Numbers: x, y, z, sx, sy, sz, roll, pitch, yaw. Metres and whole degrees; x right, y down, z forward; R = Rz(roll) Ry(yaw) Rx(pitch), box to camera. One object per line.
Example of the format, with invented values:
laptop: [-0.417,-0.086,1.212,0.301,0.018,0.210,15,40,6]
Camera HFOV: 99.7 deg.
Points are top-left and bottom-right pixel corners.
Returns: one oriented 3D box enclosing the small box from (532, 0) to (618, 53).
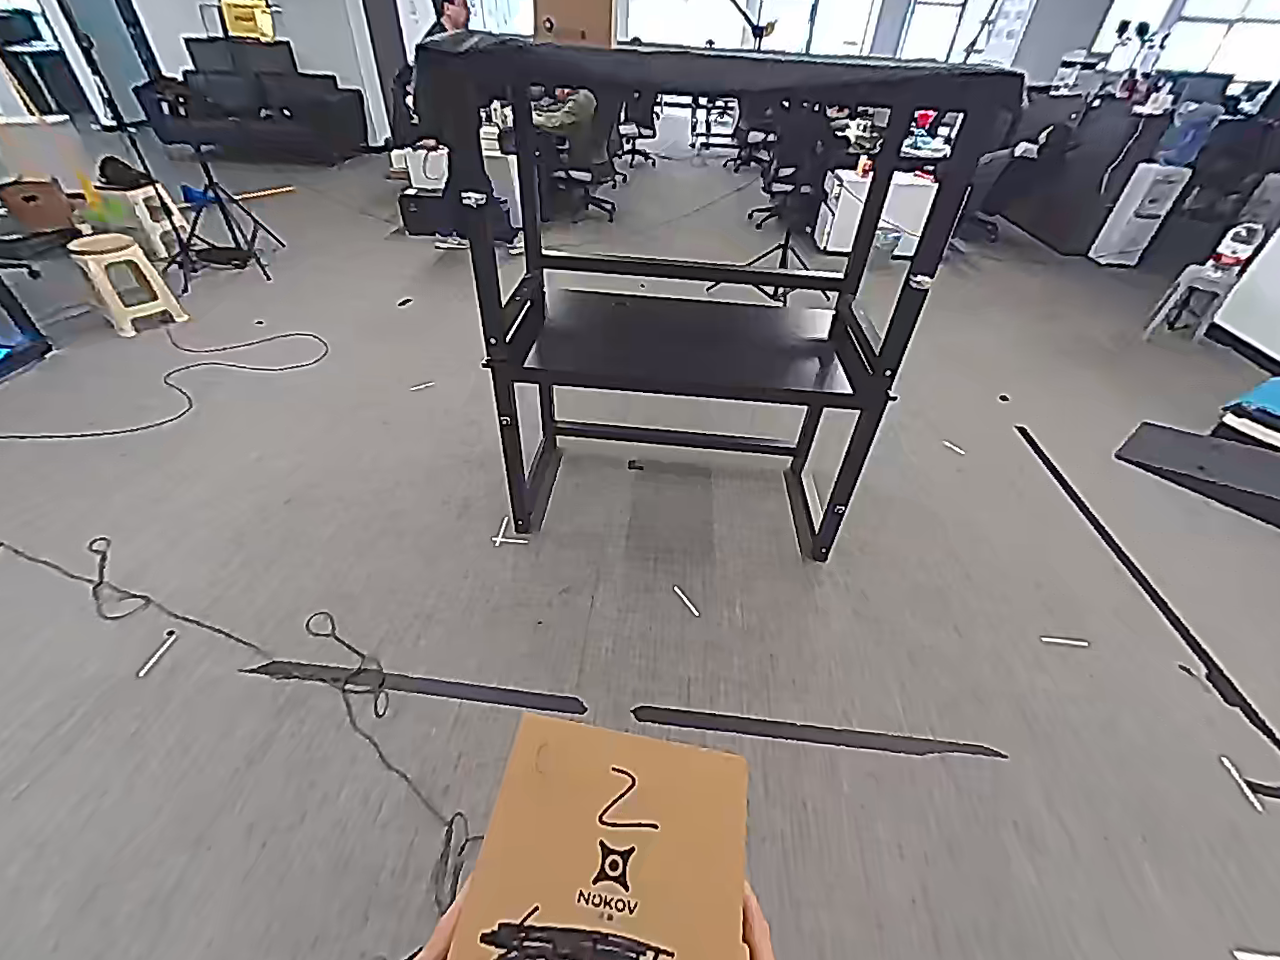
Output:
small box: [-0.134,-1.019,1.149,0.168,0.176,0.179,4,38,-1]
